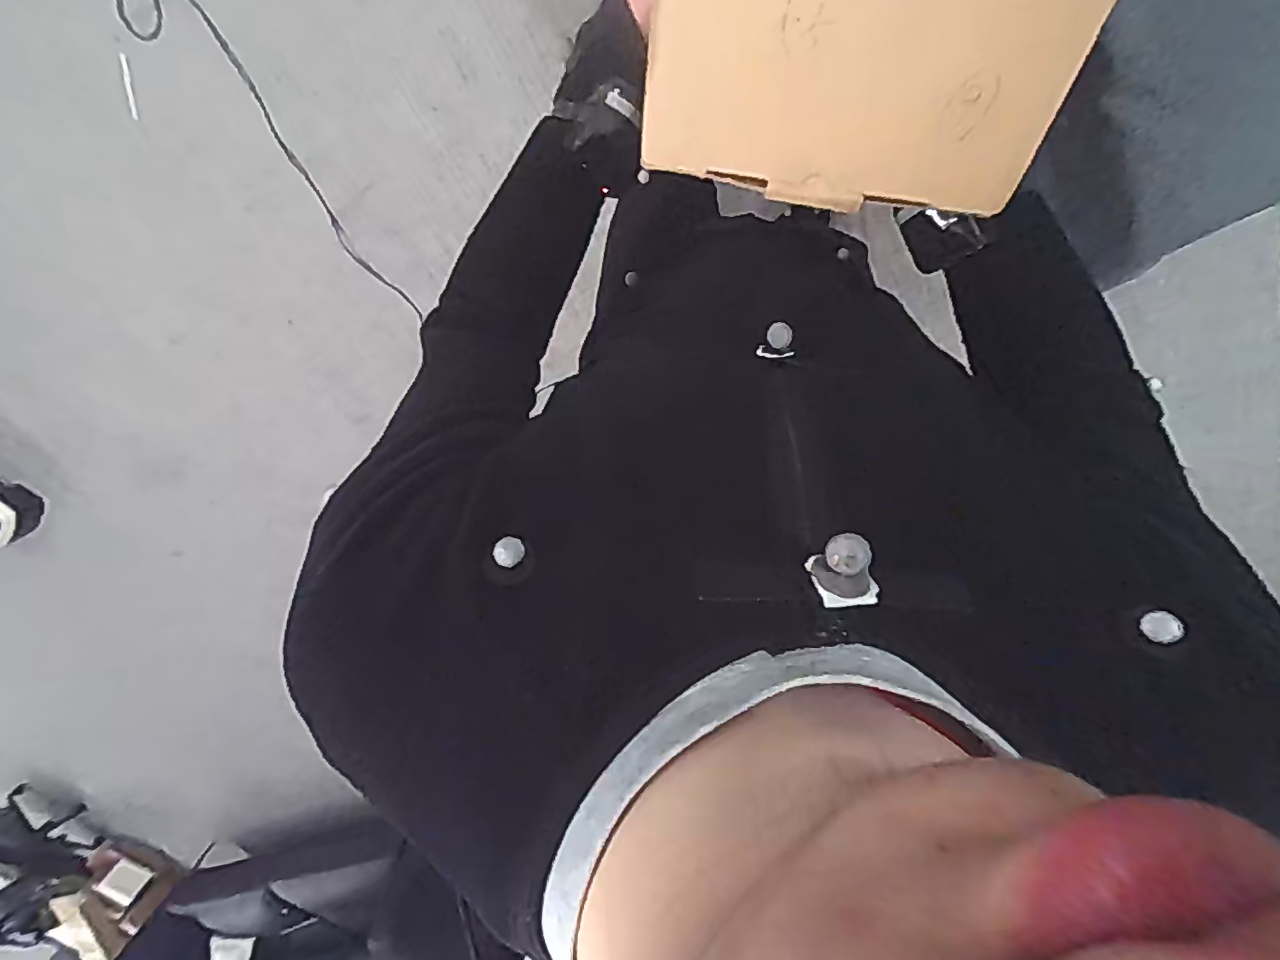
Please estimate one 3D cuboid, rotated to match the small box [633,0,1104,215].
[{"bbox_3d":[0.098,-0.249,0.238,0.168,0.176,0.179,10,137,3],"label":"small box"}]
